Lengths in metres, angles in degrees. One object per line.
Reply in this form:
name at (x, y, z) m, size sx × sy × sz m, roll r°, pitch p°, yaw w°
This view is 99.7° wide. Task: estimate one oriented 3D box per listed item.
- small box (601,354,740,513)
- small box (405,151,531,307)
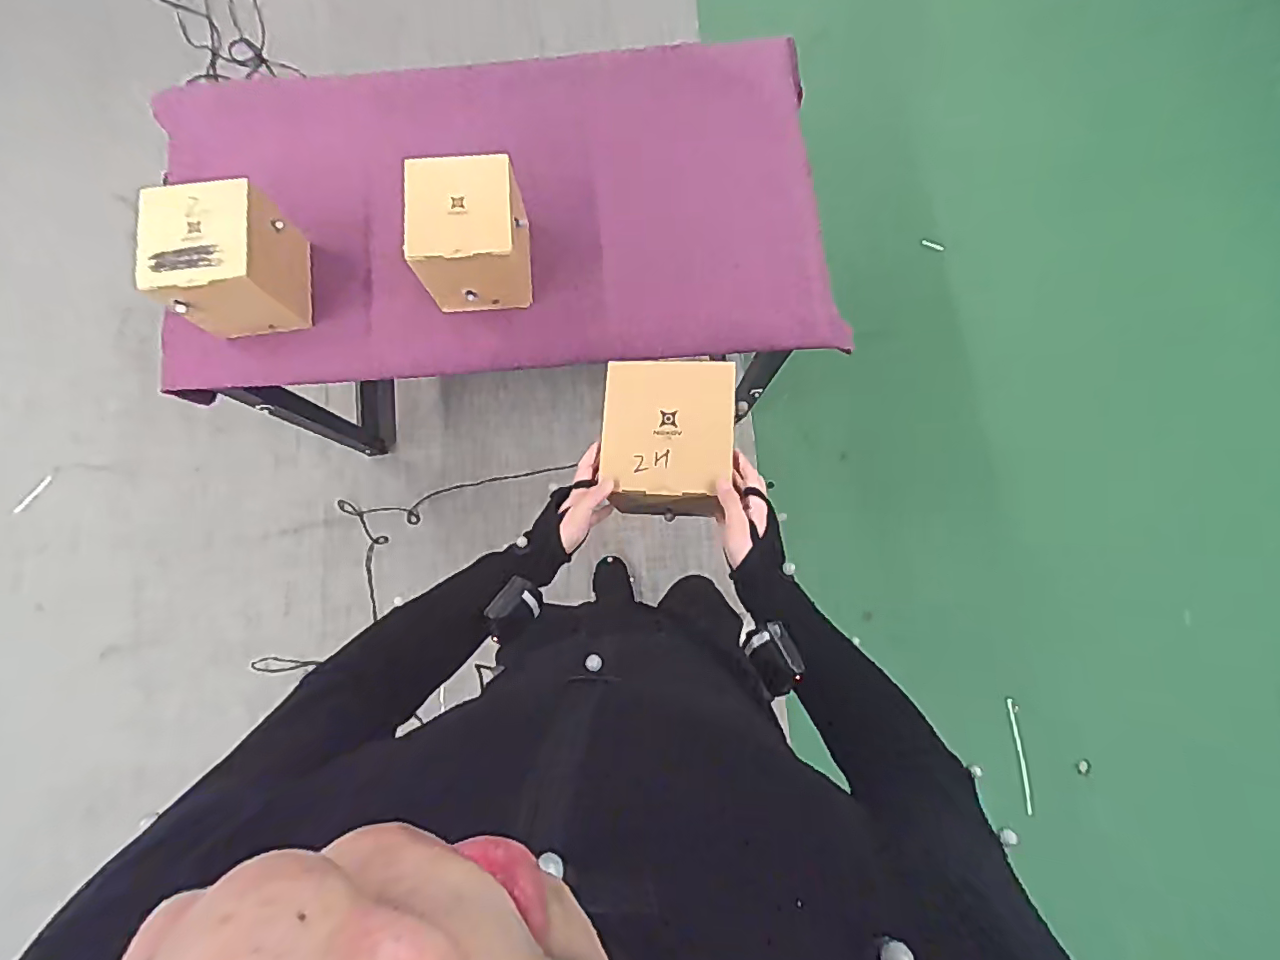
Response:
small box at (0.048, -0.058, 0.750) m, size 0.168 × 0.176 × 0.179 m, roll 2°, pitch 78°, yaw 8°
small box at (-0.282, -0.416, 0.914) m, size 0.168 × 0.176 × 0.179 m, roll -4°, pitch 81°, yaw -2°
